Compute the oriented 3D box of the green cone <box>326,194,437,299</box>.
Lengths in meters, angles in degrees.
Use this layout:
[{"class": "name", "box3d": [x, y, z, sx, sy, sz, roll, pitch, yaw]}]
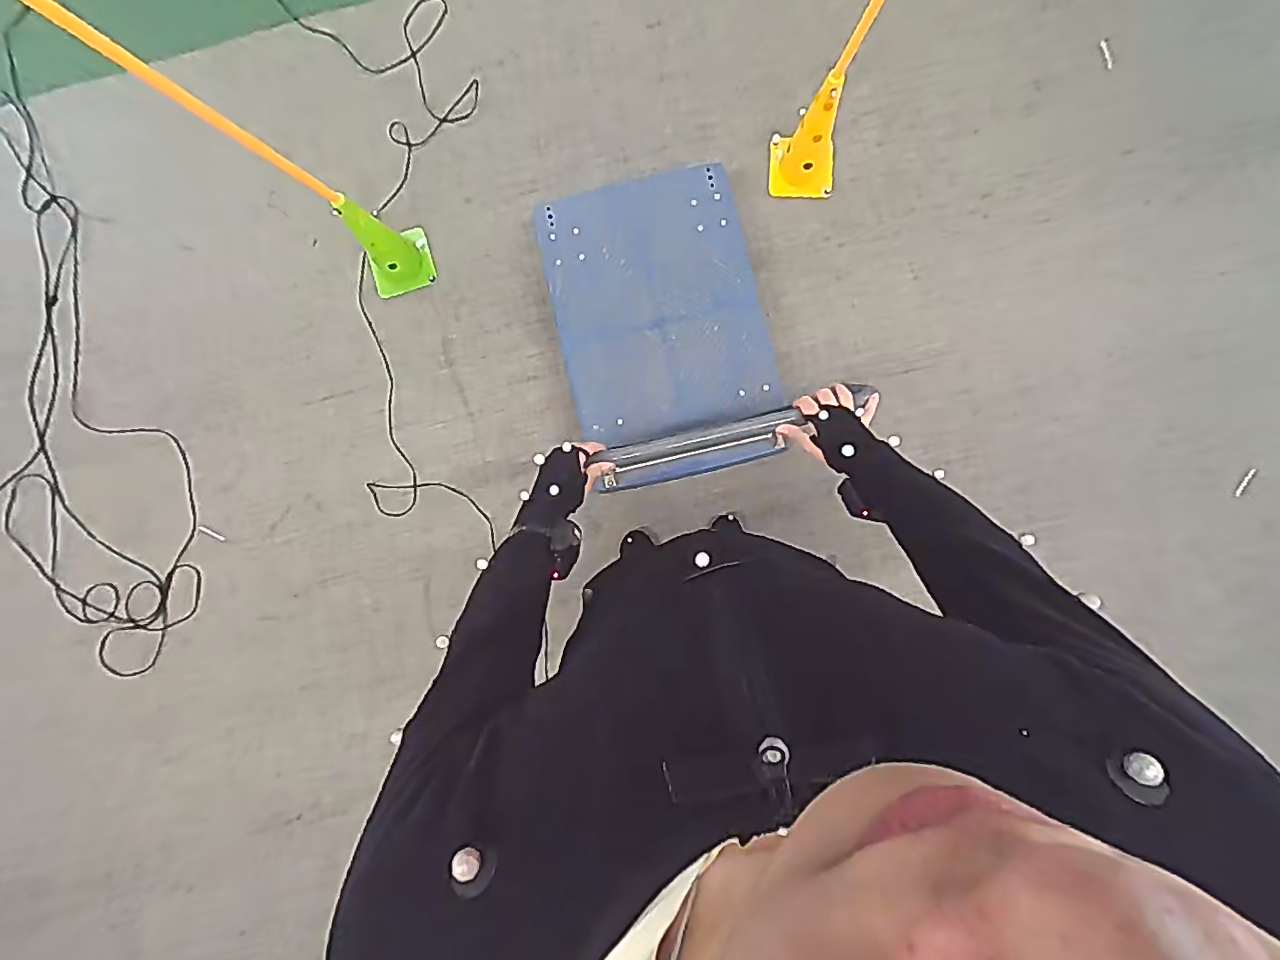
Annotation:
[{"class": "green cone", "box3d": [-0.786, -0.720, 1.589, 0.202, 0.368, 0.200, -18, 84, 3]}]
